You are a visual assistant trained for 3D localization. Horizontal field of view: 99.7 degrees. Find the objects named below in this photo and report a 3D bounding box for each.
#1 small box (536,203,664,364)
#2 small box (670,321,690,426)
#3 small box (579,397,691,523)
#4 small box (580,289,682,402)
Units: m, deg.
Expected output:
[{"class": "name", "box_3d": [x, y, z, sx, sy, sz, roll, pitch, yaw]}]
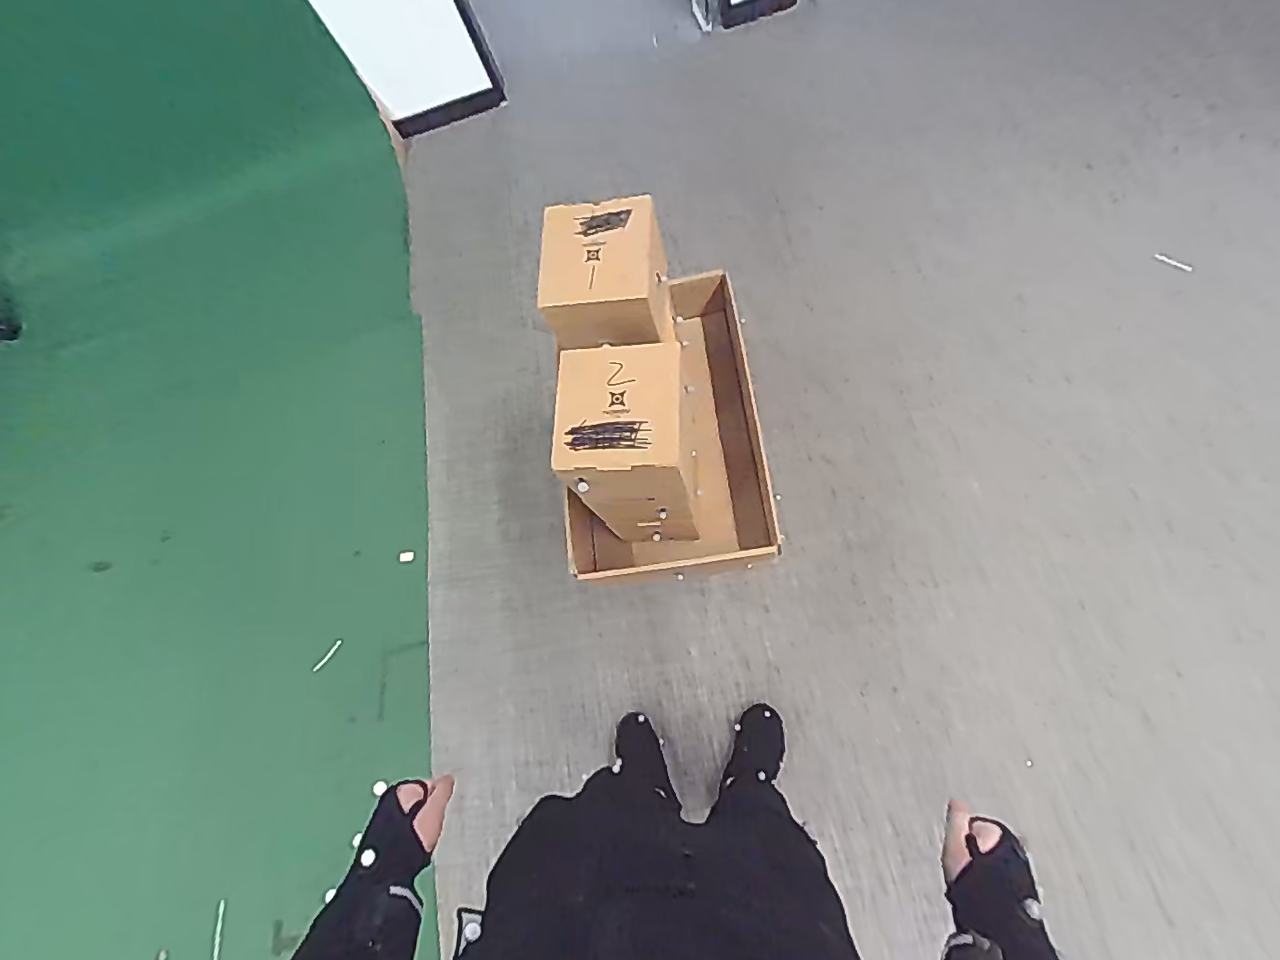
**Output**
[{"class": "small box", "box_3d": [-0.054, -0.305, 0.866, 0.168, 0.176, 0.179, -1, 74, 11]}, {"class": "small box", "box_3d": [0.011, -0.211, 1.172, 0.168, 0.176, 0.179, -10, 72, 9]}, {"class": "small box", "box_3d": [0.000, -0.025, 0.937, 0.168, 0.176, 0.179, -3, 71, 10]}, {"class": "small box", "box_3d": [-0.019, -0.255, 1.019, 0.168, 0.176, 0.179, -10, 73, 7]}]
